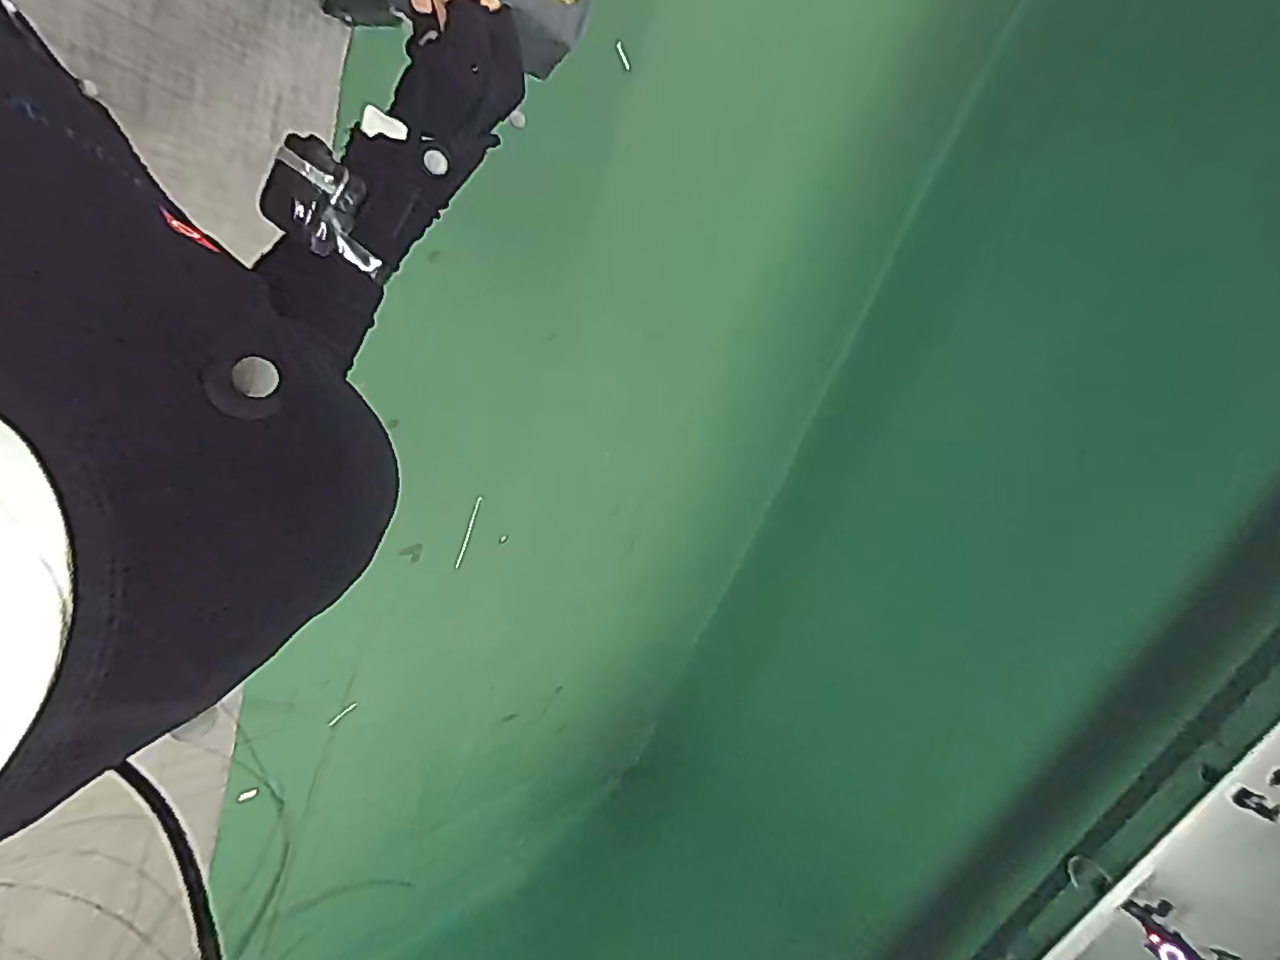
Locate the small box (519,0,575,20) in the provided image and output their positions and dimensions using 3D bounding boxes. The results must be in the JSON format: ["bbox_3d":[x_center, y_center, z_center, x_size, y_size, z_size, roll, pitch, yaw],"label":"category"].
[{"bbox_3d":[-0.125,-0.456,0.353,0.168,0.176,0.179,-7,133,-44],"label":"small box"}]
